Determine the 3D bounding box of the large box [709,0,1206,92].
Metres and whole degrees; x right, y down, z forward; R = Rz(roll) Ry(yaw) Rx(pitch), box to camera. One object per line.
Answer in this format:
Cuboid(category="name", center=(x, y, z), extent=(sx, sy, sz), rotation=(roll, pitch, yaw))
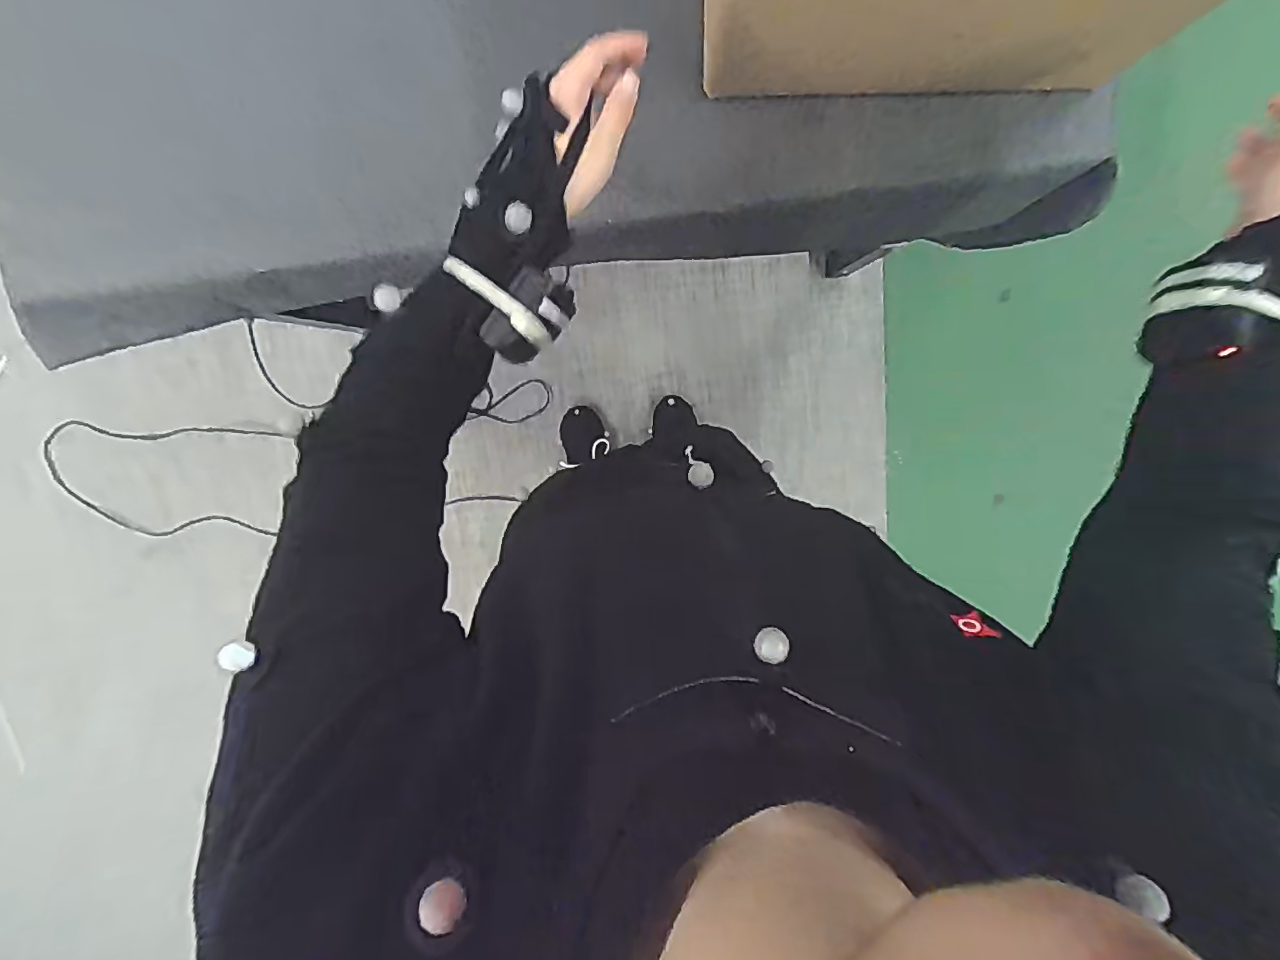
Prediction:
Cuboid(category="large box", center=(0.261, -0.523, 0.377), extent=(0.408, 0.320, 0.320), rotation=(-1, 101, 1))
